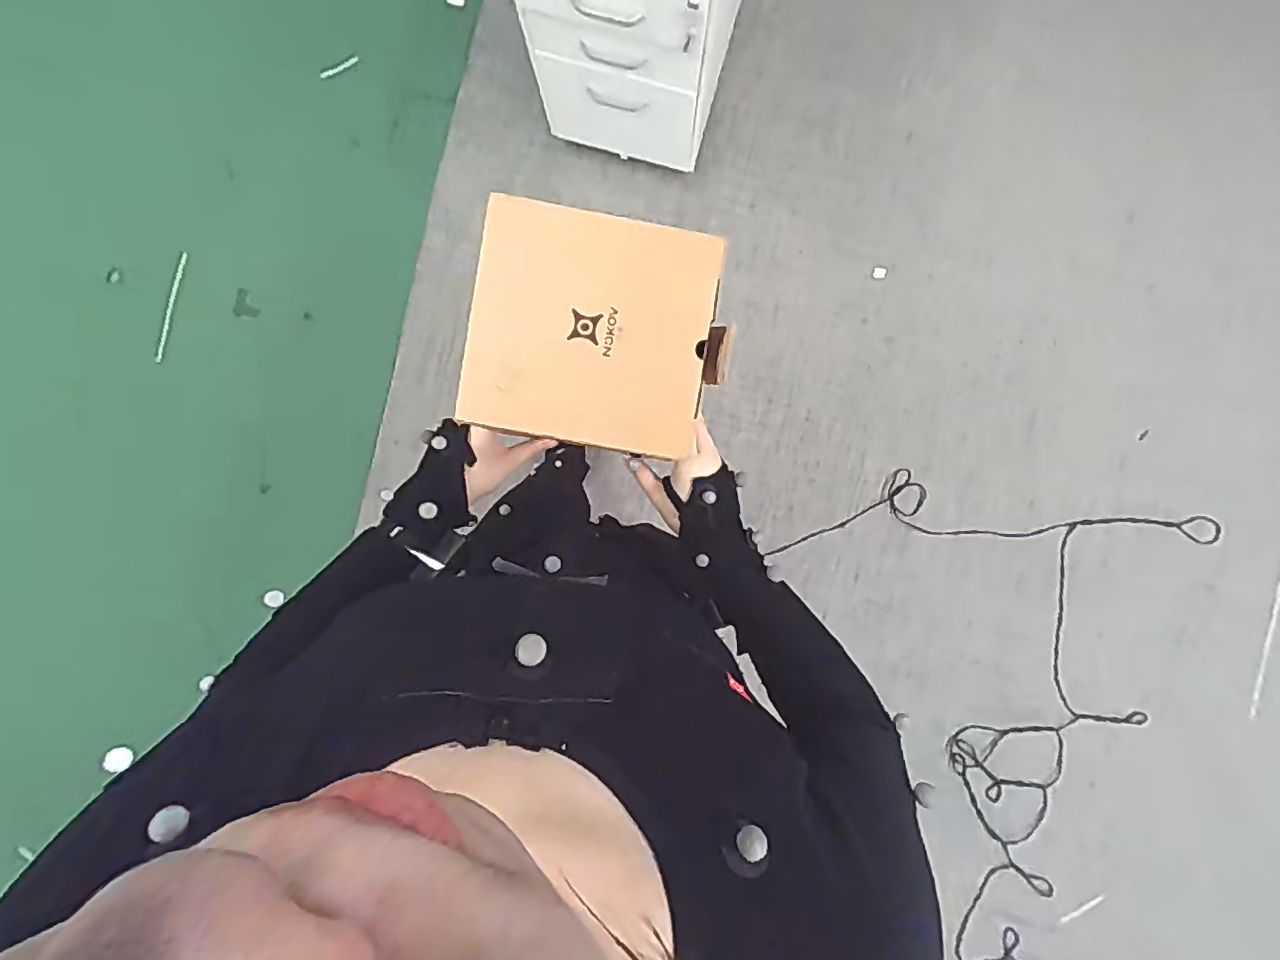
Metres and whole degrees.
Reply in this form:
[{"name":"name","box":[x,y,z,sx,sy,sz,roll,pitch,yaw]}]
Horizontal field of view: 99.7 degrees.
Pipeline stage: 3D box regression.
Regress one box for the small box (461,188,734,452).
[{"name":"small box","box":[-0.034,-0.117,0.470,0.179,0.176,0.168,10,92,-3]}]
